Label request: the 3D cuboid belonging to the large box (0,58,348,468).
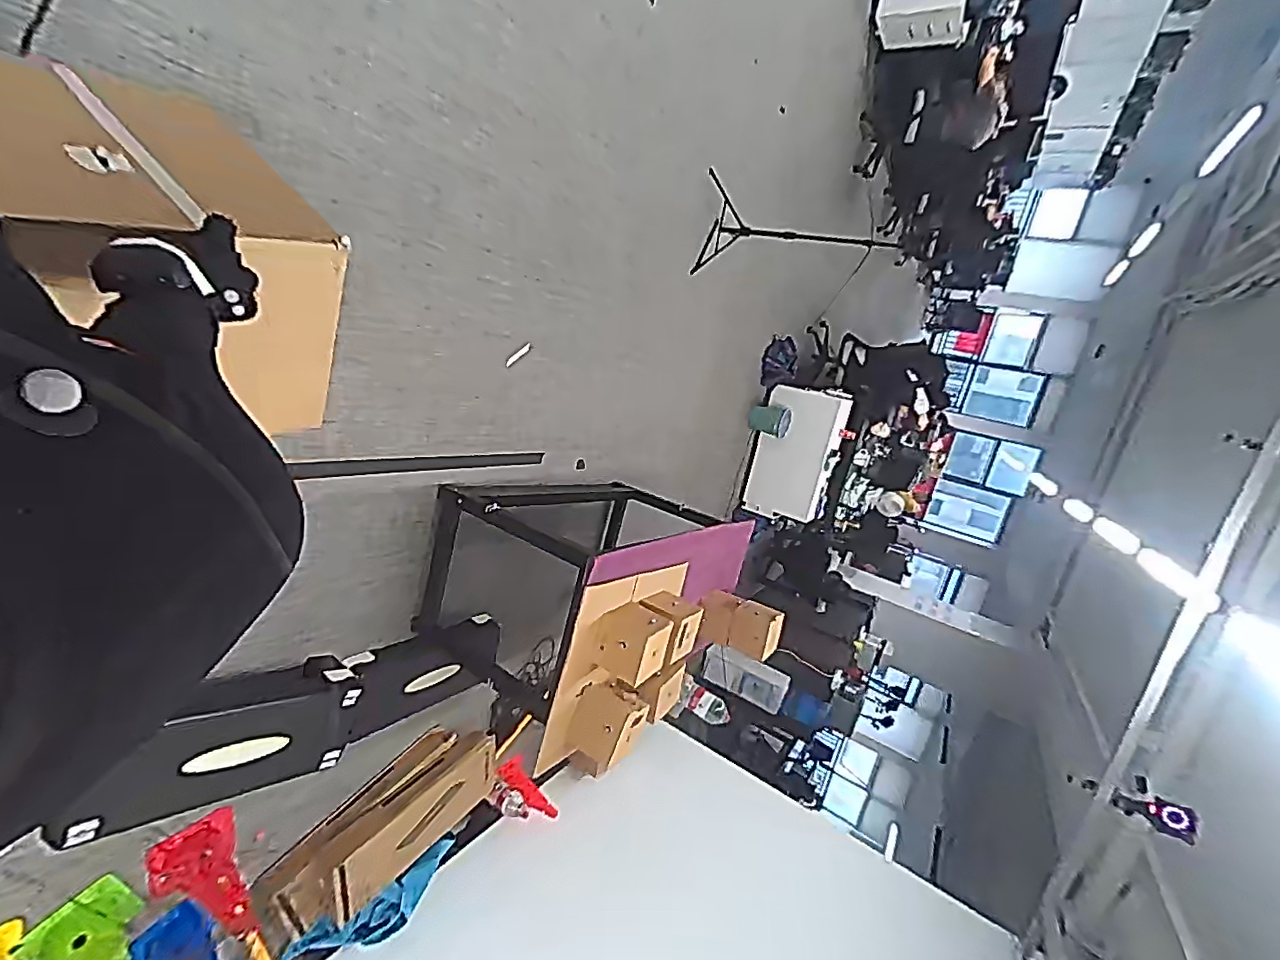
[{"bbox_3d":[-0.674,-0.286,0.731,0.320,0.408,0.320,-27,156,-50],"label":"large box"}]
